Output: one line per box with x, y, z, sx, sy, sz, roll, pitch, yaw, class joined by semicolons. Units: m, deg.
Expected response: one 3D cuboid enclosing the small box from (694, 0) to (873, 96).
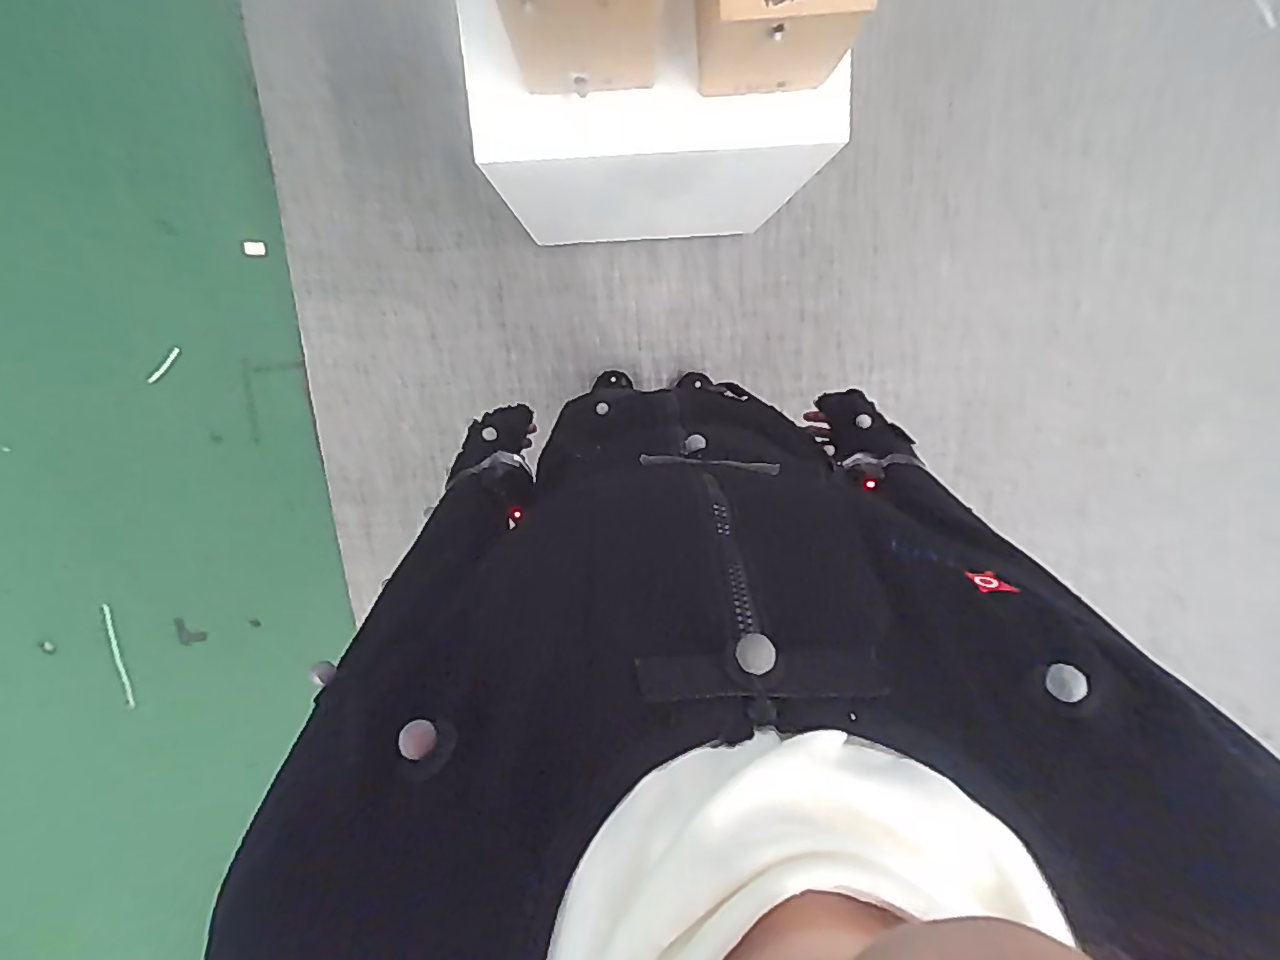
0.153;-0.583;0.622;0.168;0.176;0.179;-4;101;-1;small box

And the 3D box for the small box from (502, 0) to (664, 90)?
-0.066;-0.577;0.603;0.168;0.176;0.179;-6;104;0;small box
